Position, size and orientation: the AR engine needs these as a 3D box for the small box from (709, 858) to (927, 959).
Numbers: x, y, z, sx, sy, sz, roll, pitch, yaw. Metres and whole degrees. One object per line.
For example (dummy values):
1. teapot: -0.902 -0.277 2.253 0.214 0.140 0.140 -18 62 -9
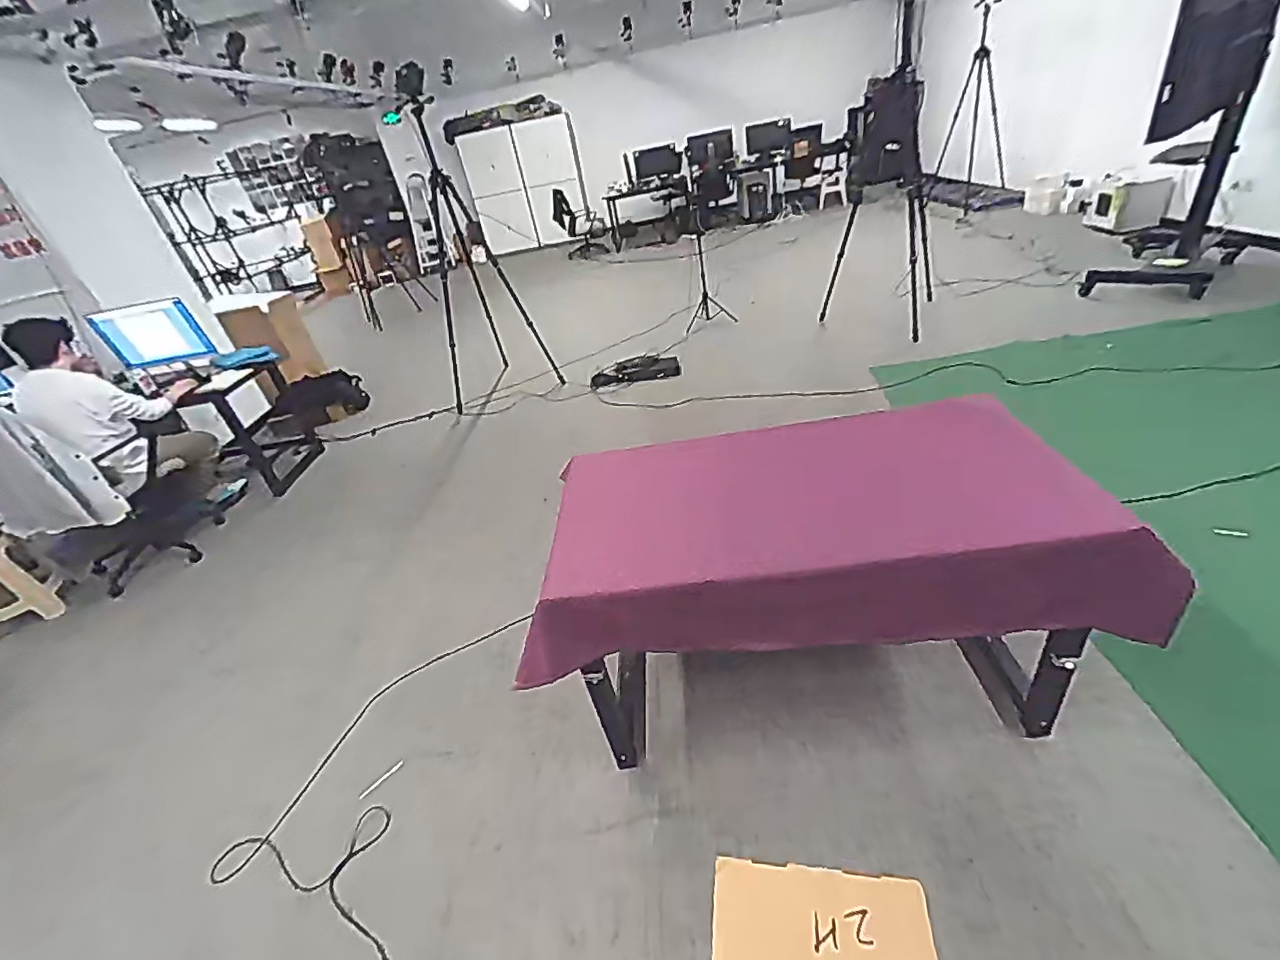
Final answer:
1. small box: 0.145 0.450 0.448 0.168 0.176 0.179 -1 41 13
